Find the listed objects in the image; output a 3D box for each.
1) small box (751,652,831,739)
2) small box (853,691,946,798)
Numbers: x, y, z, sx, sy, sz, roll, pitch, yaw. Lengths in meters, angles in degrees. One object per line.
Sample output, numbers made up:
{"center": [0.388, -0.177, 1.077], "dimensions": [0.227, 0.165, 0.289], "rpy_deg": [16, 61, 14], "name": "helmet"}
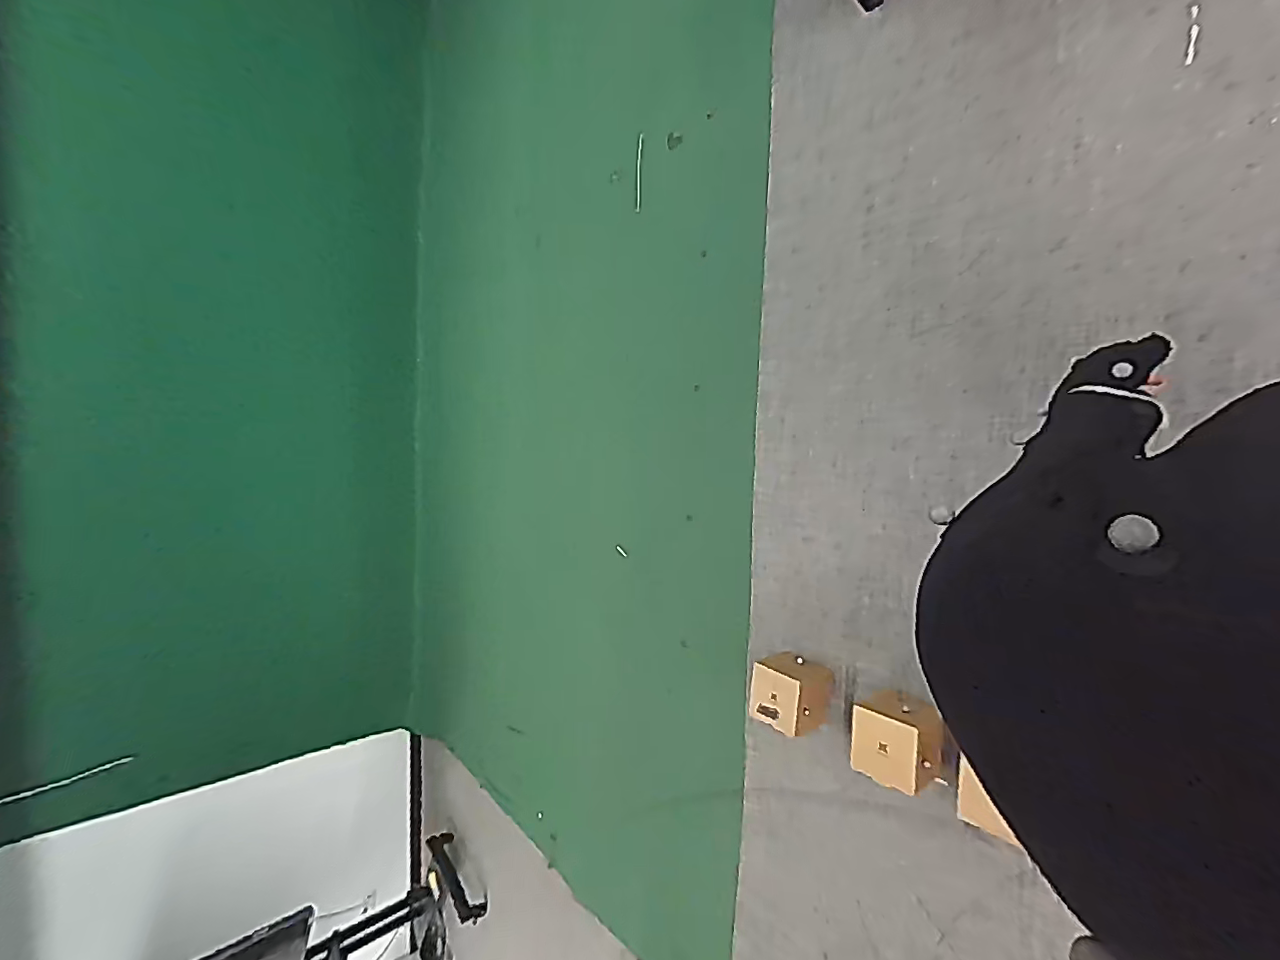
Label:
{"center": [0.461, 0.649, 1.649], "dimensions": [0.168, 0.176, 0.179], "rpy_deg": [10, 97, 48], "name": "small box"}
{"center": [0.677, 0.675, 1.405], "dimensions": [0.168, 0.176, 0.179], "rpy_deg": [4, 94, 48], "name": "small box"}
